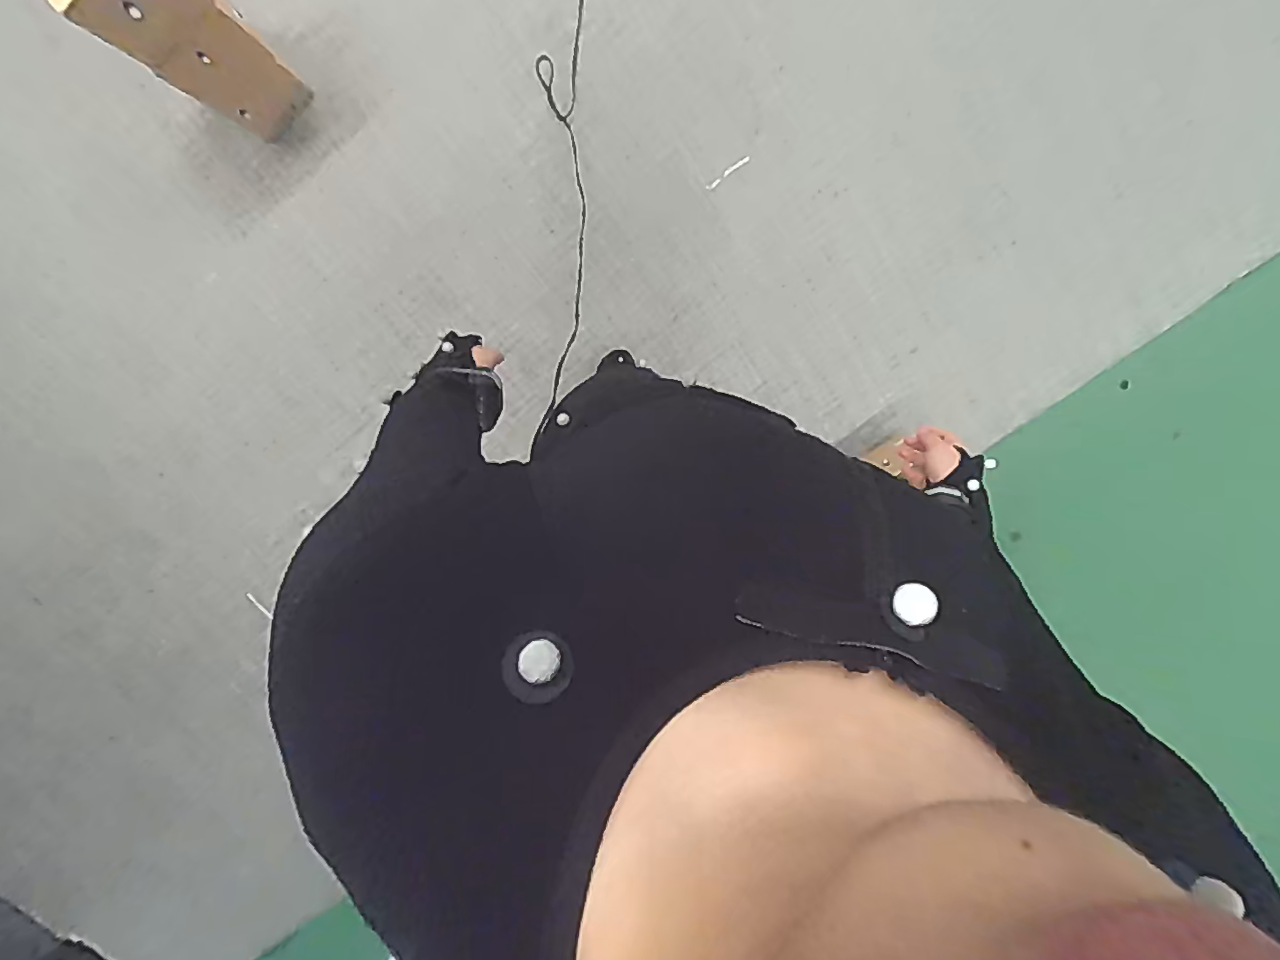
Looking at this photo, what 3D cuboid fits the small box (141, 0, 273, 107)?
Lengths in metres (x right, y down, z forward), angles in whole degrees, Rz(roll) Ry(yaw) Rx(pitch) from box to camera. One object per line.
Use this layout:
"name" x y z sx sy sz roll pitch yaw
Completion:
"small box" -0.862 -0.869 1.033 0.179 0.176 0.168 -39 102 7

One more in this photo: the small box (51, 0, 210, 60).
"small box" -0.859 -0.841 0.872 0.179 0.176 0.168 -38 101 8
